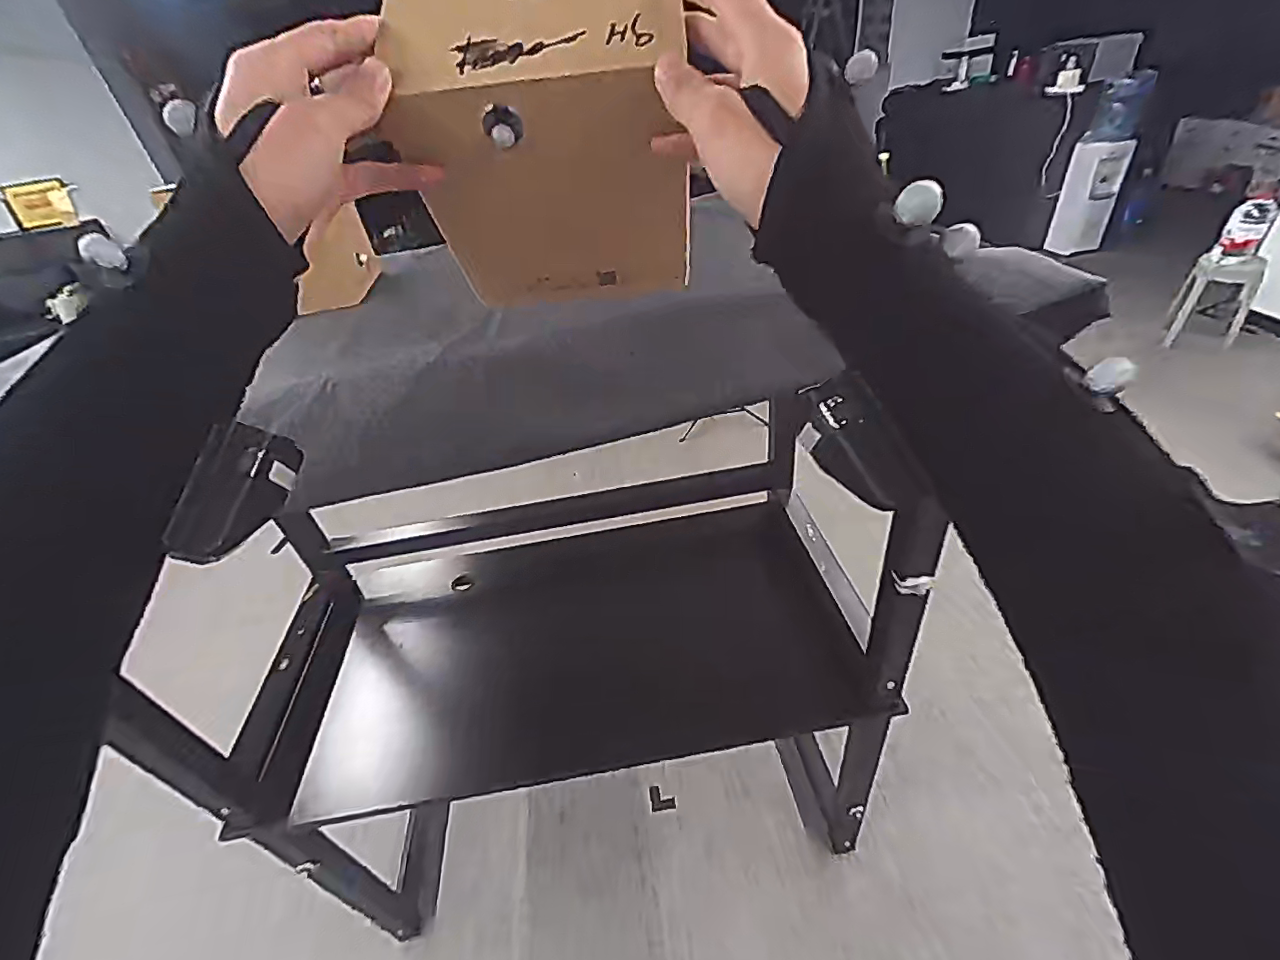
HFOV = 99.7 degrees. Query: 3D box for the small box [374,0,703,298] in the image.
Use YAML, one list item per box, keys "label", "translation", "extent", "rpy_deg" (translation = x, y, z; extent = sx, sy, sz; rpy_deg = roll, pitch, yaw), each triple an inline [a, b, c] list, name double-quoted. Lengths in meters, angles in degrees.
- label: "small box"
  translation: [-0.047, -0.252, 0.368]
  extent: [0.168, 0.176, 0.179]
  rpy_deg: [-3, 68, 4]
